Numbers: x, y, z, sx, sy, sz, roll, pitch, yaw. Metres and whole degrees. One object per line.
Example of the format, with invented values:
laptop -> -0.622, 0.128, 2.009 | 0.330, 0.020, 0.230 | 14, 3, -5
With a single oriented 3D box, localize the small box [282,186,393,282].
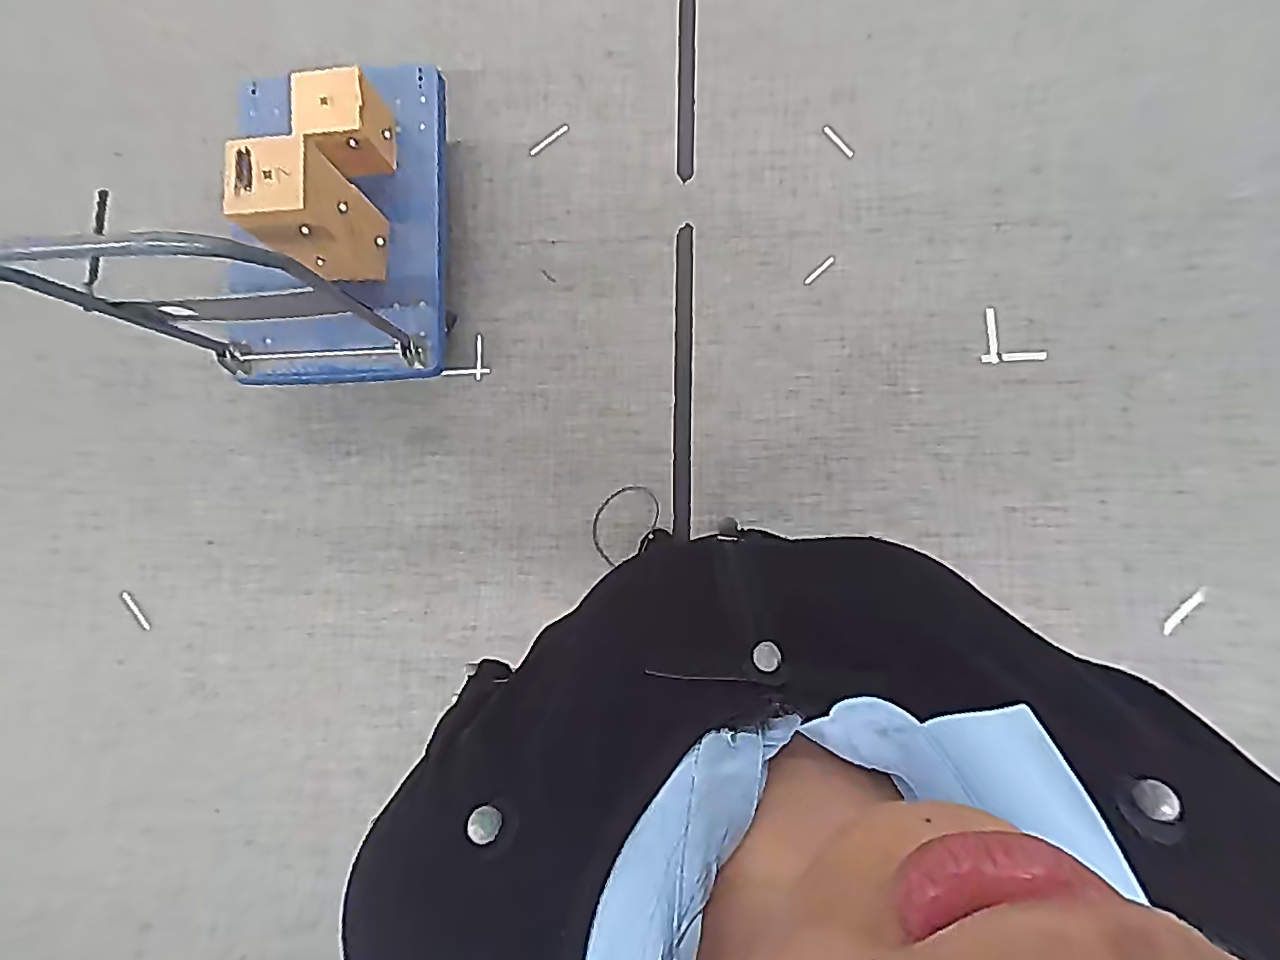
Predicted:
small box -> -0.757, -0.614, 1.364 | 0.179, 0.176, 0.168 | 2, 86, 3

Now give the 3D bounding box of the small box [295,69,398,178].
small box -> -0.750, -0.908, 1.392 | 0.179, 0.176, 0.168 | -4, 85, 3
